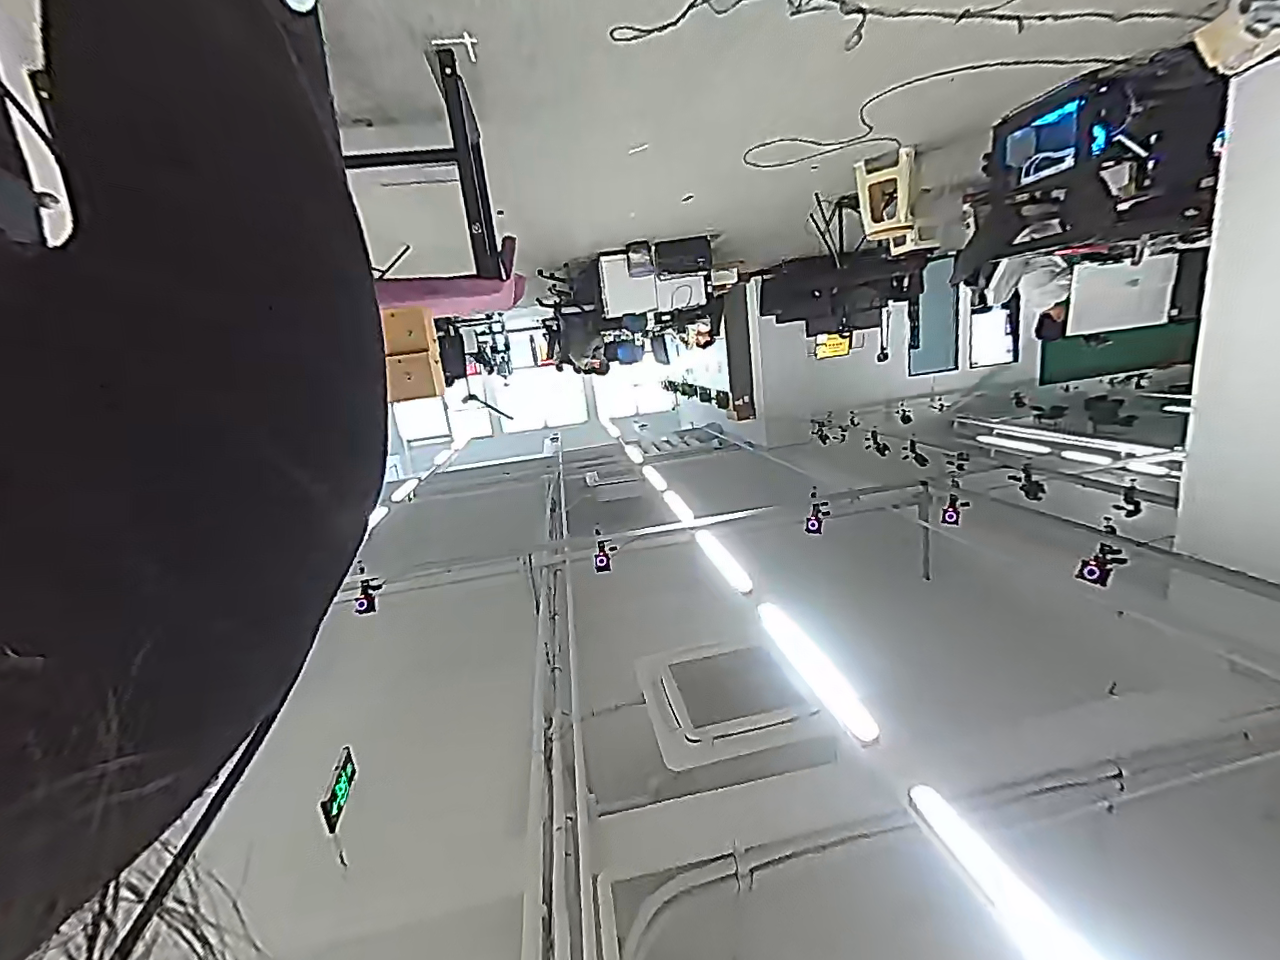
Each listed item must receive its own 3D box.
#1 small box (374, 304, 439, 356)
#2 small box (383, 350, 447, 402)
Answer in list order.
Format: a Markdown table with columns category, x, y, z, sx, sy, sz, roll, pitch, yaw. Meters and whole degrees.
| category | x | y | z | sx | sy | sz | roll | pitch | yaw |
| --- | --- | --- | --- | --- | --- | --- | --- | --- | --- |
| small box | -0.869 | -0.558 | 2.018 | 0.168 | 0.176 | 0.179 | -9 | -166 | -7 |
| small box | -0.845 | -0.394 | 2.032 | 0.168 | 0.176 | 0.179 | -9 | -166 | -6 |
